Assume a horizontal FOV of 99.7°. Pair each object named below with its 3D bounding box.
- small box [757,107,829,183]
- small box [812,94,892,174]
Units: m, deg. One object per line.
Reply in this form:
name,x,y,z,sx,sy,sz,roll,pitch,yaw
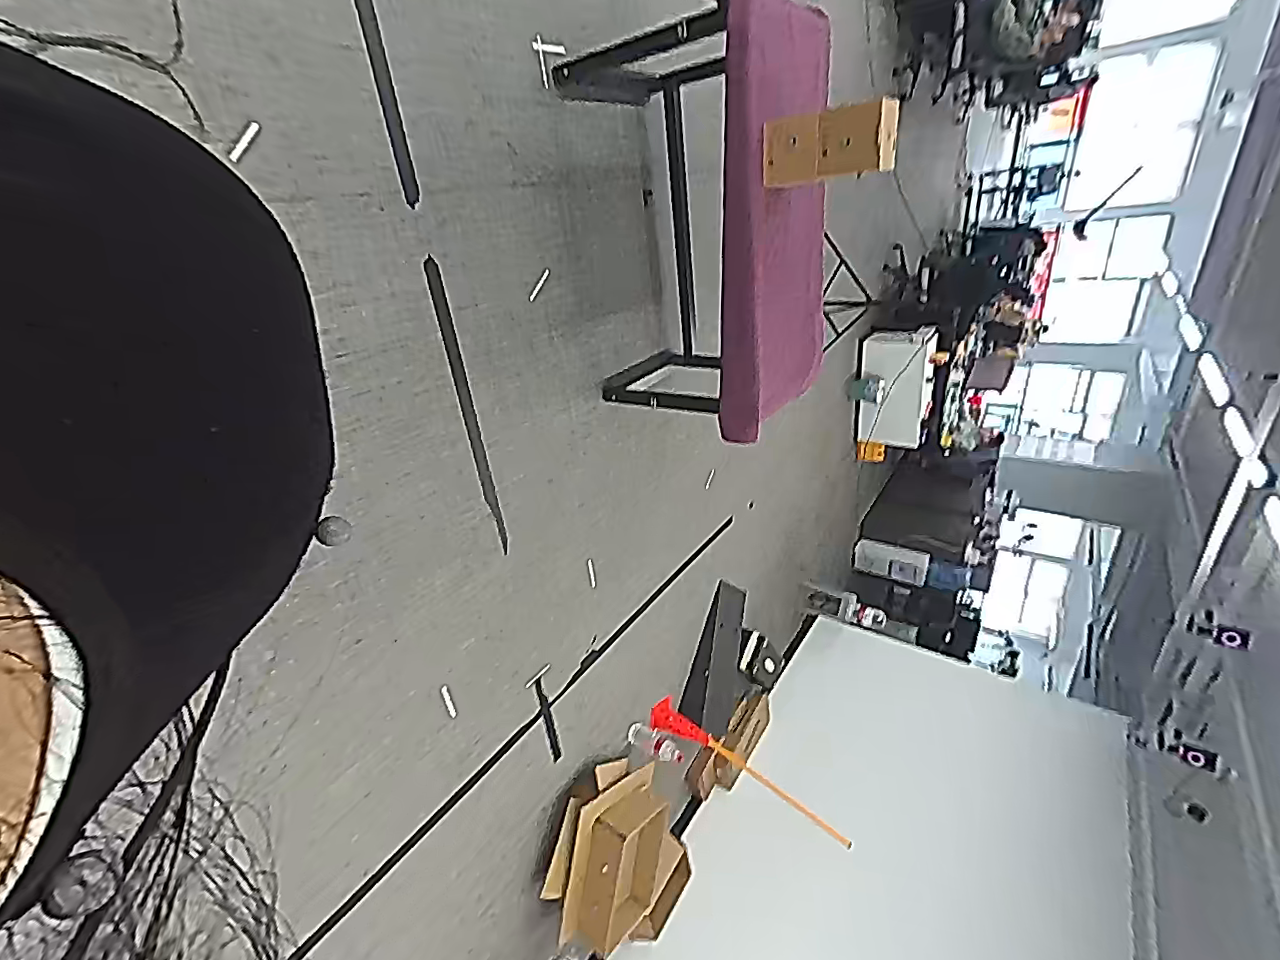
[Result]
small box,0.459,-0.994,1.616,0.179,0.176,0.168,-36,128,-45
small box,0.594,-0.969,1.526,0.179,0.176,0.168,-37,129,-44
